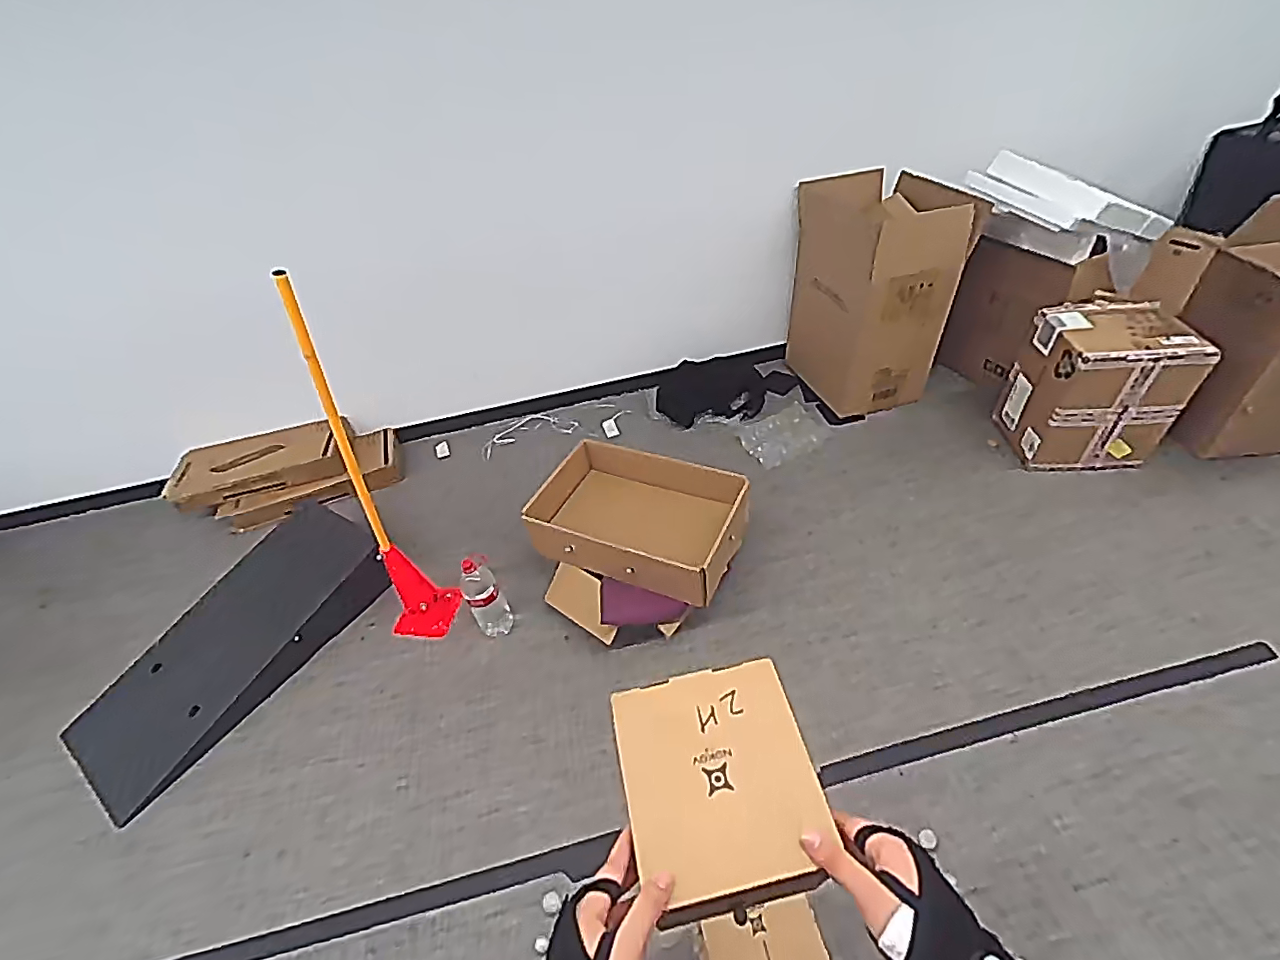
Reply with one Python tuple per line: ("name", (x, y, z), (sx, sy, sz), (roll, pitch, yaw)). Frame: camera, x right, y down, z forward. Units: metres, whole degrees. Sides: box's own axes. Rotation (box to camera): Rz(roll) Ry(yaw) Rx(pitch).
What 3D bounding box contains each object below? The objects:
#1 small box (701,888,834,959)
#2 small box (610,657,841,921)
("small box", (0.186, 0.706, 0.851), (0.168, 0.176, 0.179), (-14, 42, -6))
("small box", (0.074, 0.308, 0.534), (0.168, 0.176, 0.179), (-12, 46, -4))
